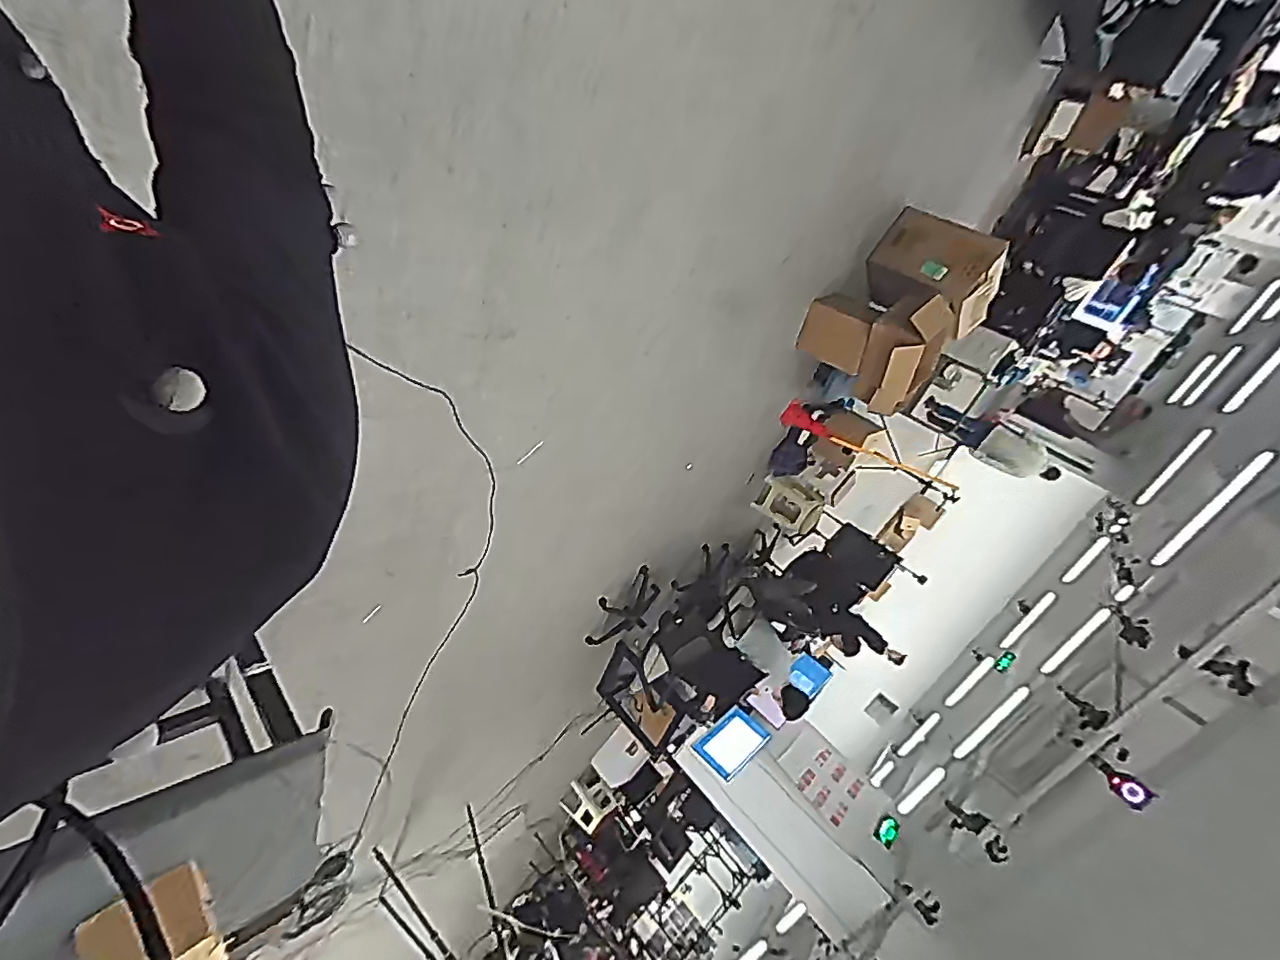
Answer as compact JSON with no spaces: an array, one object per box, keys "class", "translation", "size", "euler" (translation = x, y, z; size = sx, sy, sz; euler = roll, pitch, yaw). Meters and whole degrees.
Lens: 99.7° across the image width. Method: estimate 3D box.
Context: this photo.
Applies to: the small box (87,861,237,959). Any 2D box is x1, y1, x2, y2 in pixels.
[{"class":"small box","translation":[-0.934,0.906,1.062],"size":[0.179,0.176,0.168],"euler":[-20,137,-40]}]
